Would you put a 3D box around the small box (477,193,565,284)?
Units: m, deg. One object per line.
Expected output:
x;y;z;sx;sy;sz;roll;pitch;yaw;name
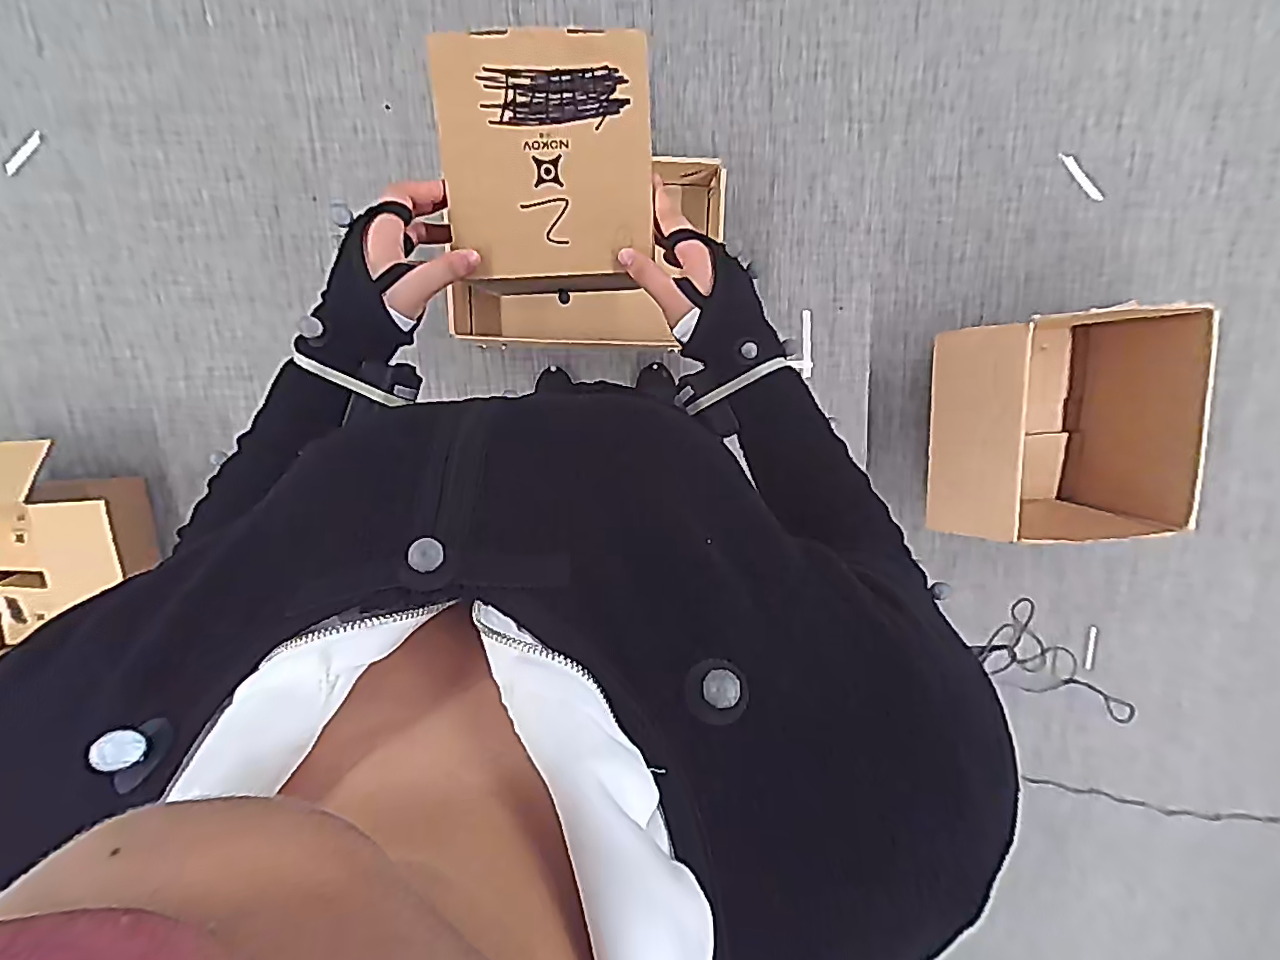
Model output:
-0.270;-0.552;1.258;0.179;0.176;0.168;1;104;-4;small box
